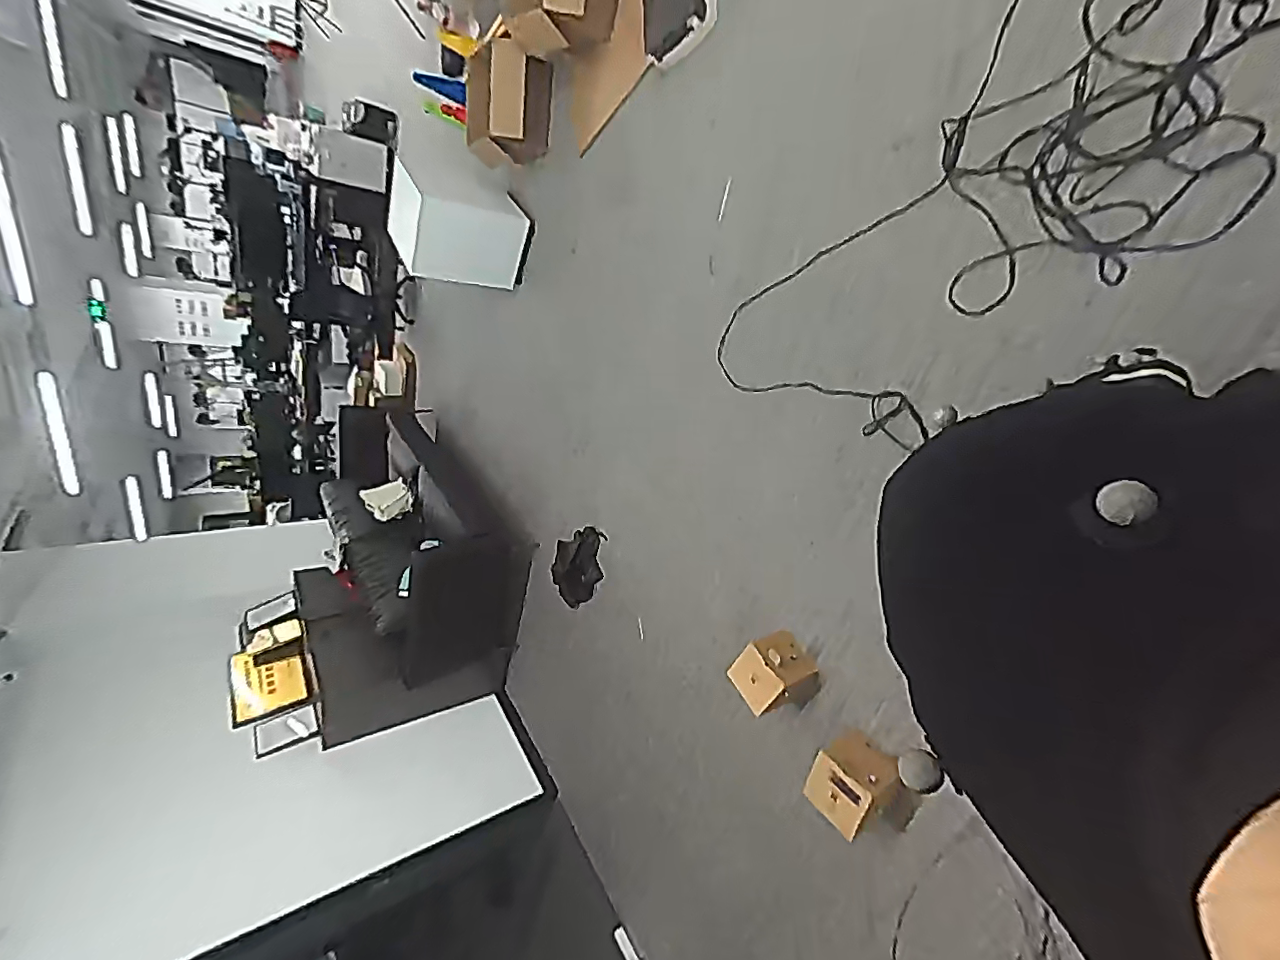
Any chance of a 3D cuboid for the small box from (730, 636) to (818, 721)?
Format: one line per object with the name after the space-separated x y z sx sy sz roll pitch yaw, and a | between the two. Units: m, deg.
0.424 0.620 1.702 0.168 0.176 0.179 52 132 37 | small box
